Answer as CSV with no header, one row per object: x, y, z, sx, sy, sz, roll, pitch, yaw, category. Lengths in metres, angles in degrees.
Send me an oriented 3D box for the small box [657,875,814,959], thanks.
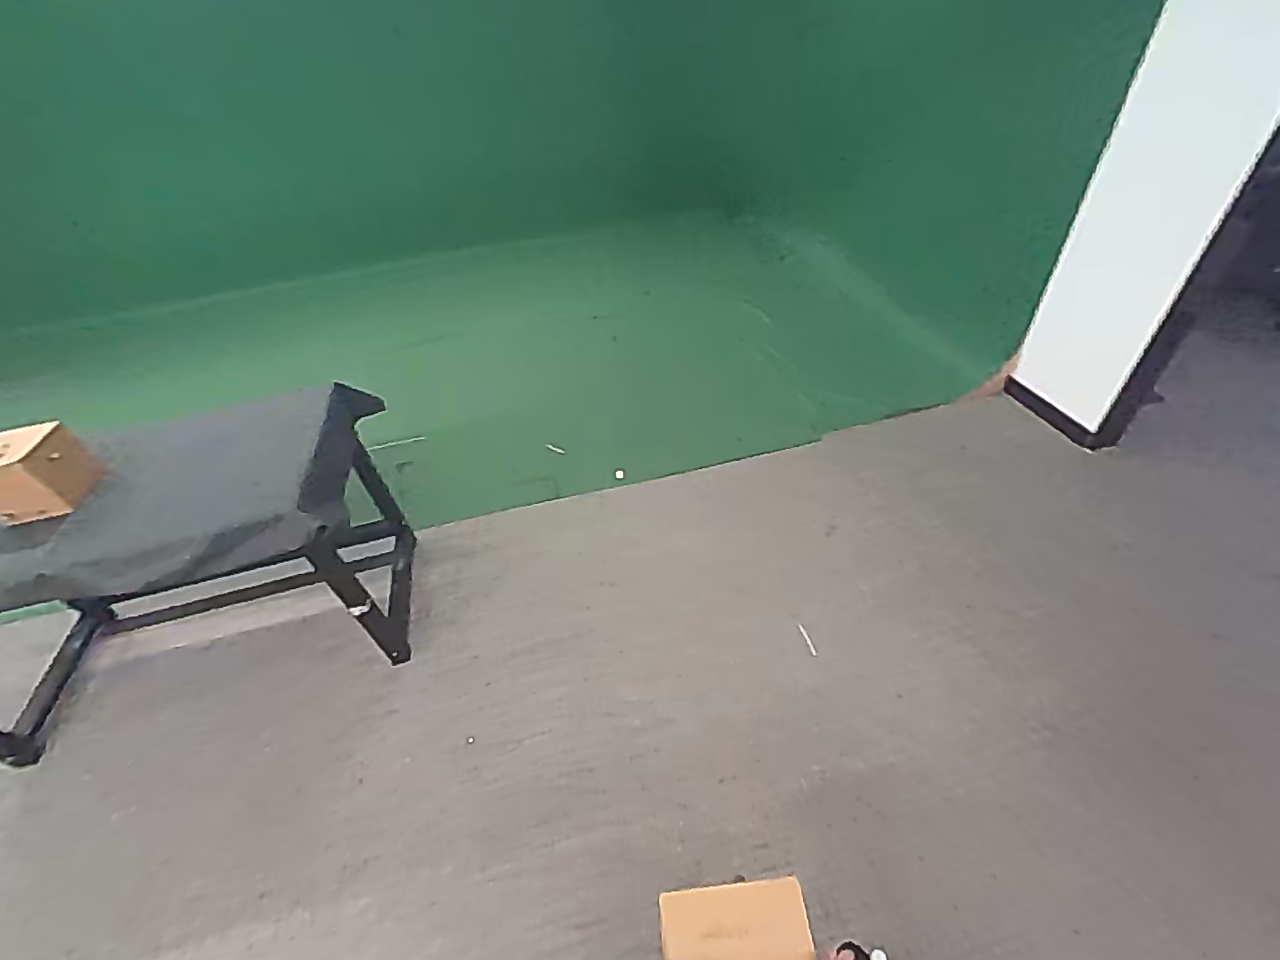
0.120,0.582,0.628,0.168,0.176,0.179,-10,48,4,small box

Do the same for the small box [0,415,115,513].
-1.505,-0.033,1.367,0.168,0.176,0.179,-12,42,-5,small box
